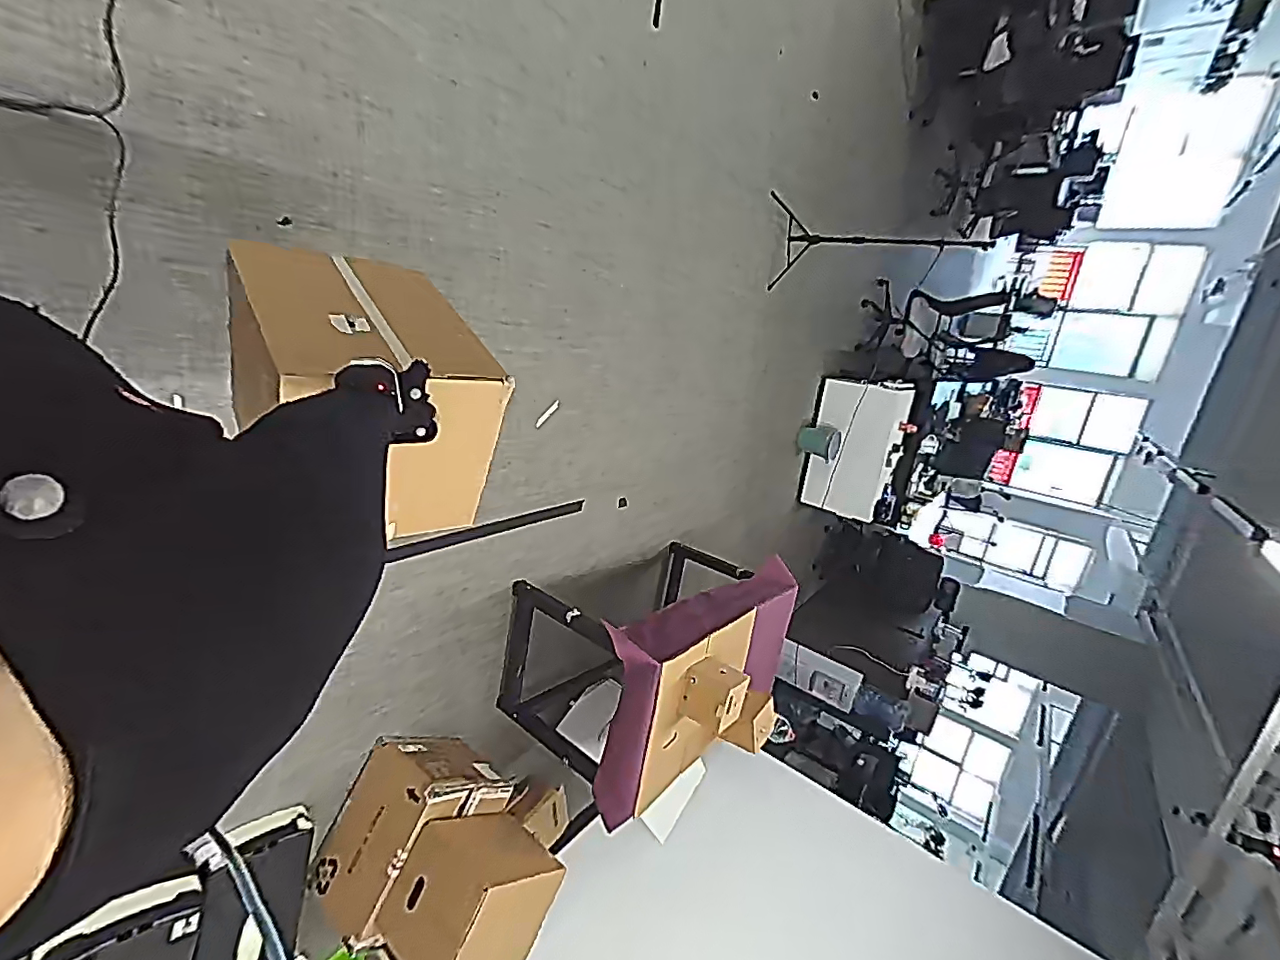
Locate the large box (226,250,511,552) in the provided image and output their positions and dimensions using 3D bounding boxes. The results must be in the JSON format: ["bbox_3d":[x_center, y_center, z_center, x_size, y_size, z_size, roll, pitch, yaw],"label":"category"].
[{"bbox_3d":[-0.487,-0.142,0.939,0.320,0.408,0.320,-9,136,-42],"label":"large box"}]
